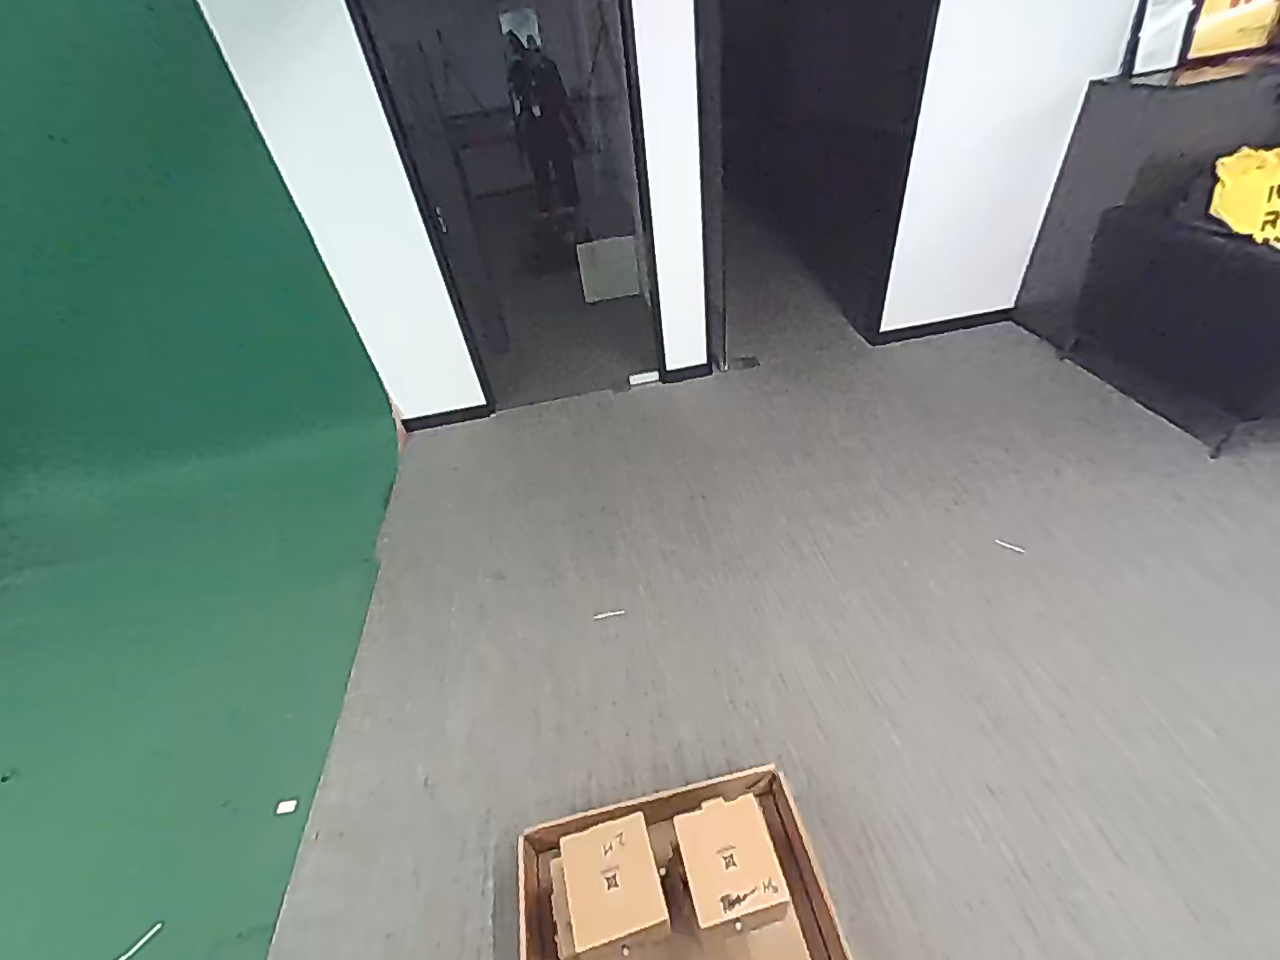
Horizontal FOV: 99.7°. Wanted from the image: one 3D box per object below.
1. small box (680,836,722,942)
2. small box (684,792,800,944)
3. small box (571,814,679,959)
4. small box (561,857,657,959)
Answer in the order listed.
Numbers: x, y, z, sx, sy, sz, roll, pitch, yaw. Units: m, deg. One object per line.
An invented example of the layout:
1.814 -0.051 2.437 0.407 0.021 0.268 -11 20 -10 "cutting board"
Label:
0.199 0.849 1.156 0.179 0.176 0.168 -17 42 -8 "small box"
0.189 0.740 1.032 0.168 0.176 0.179 -15 41 -4 "small box"
-0.027 0.780 1.032 0.168 0.176 0.179 -13 42 -9 "small box"
-0.059 0.900 1.148 0.179 0.176 0.168 -13 42 -7 "small box"
